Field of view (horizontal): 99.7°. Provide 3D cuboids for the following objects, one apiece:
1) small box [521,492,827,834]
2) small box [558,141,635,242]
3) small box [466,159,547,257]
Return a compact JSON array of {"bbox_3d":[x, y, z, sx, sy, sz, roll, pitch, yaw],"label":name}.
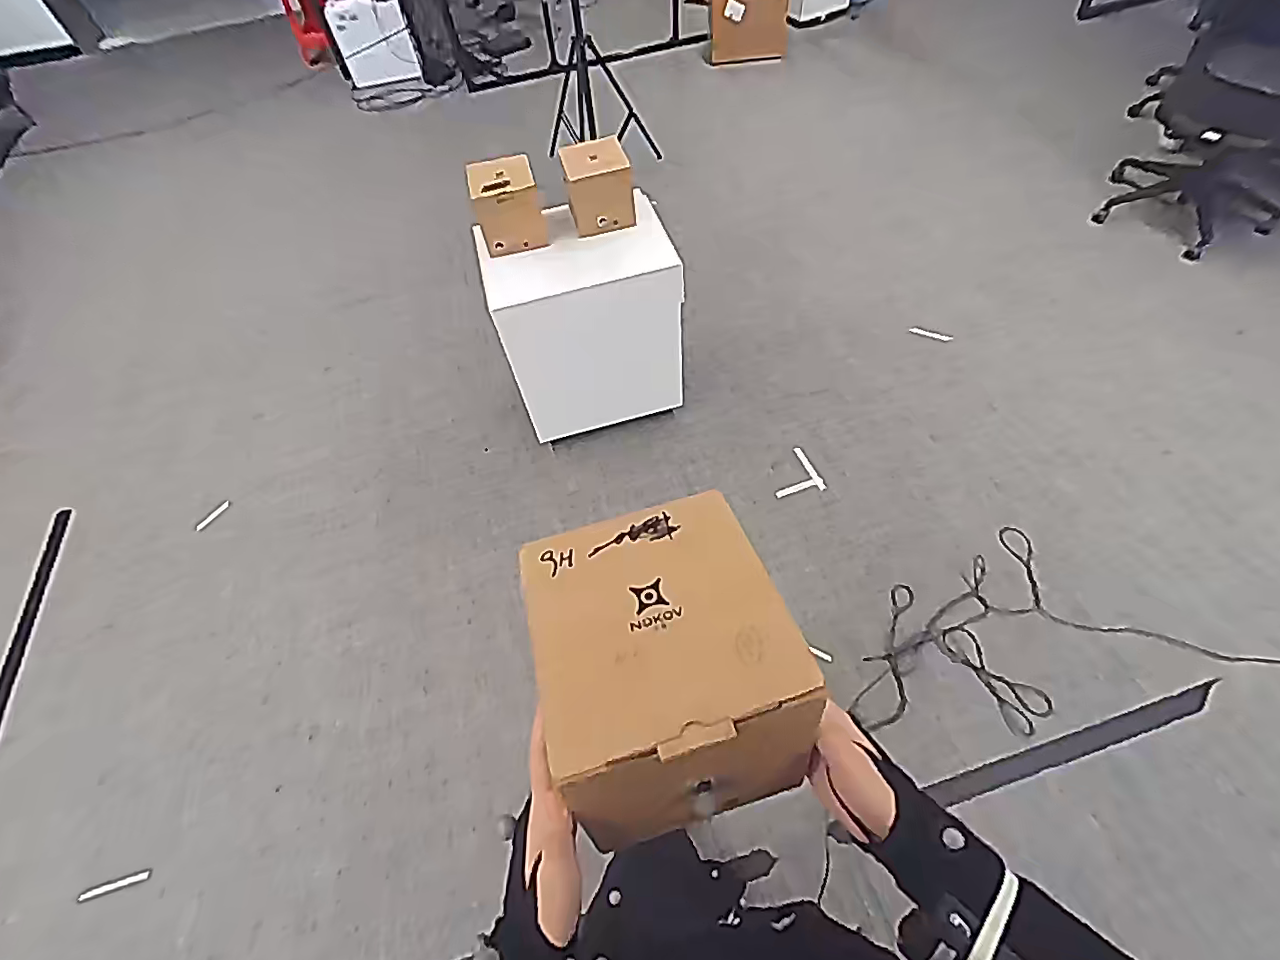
[{"bbox_3d":[0.019,0.143,0.414,0.168,0.176,0.179,-15,45,-7],"label":"small box"},{"bbox_3d":[-0.117,-0.791,1.487,0.168,0.176,0.179,-16,58,-4],"label":"small box"},{"bbox_3d":[-0.358,-0.728,1.465,0.168,0.176,0.179,-14,56,-5],"label":"small box"}]
